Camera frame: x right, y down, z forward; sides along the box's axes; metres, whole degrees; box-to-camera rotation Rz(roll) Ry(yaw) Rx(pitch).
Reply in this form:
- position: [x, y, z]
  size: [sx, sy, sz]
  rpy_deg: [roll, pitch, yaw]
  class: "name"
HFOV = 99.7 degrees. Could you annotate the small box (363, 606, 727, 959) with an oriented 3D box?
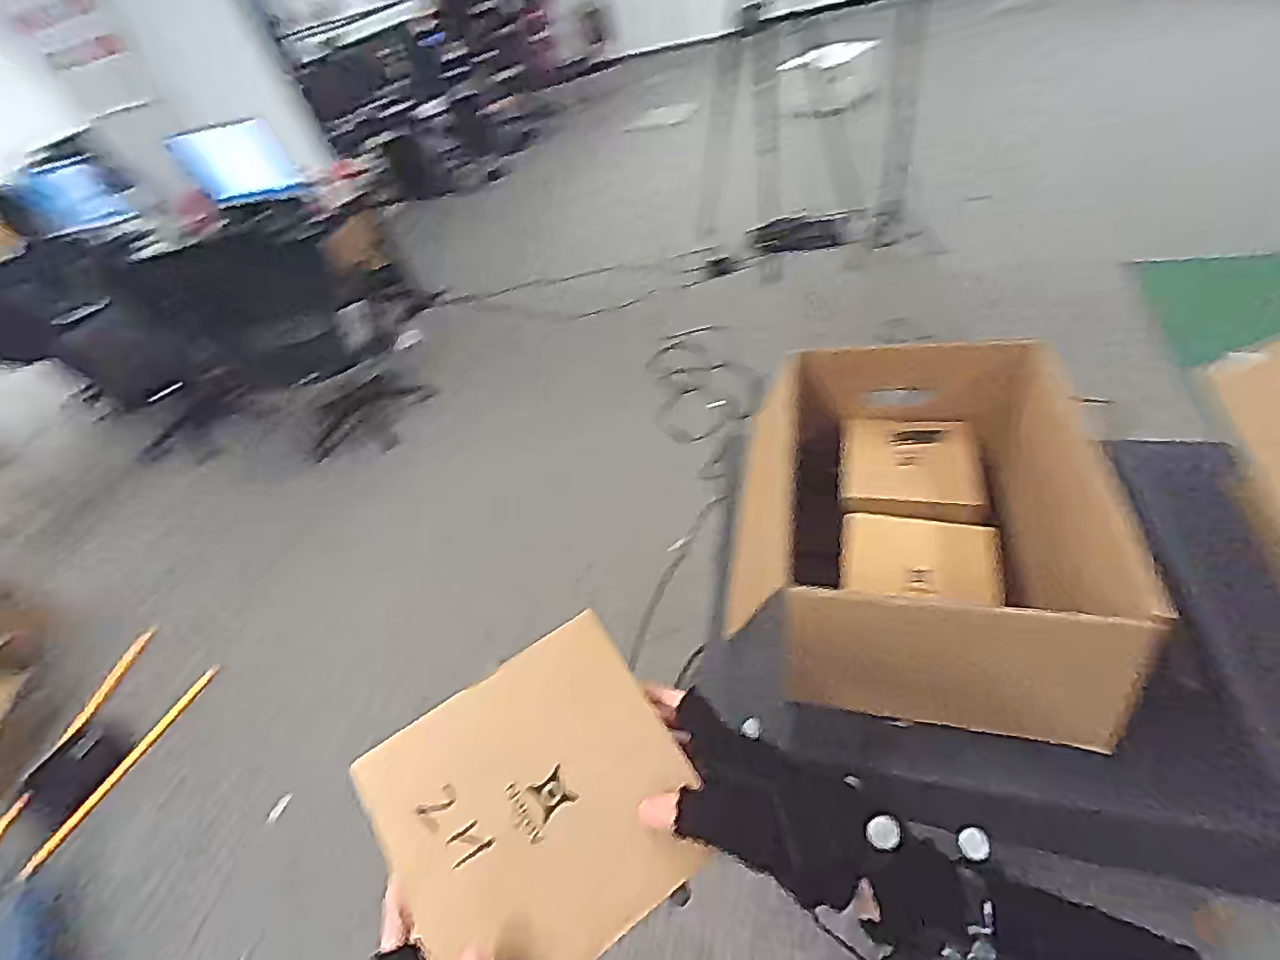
- position: [-0.065, 0.223, 0.404]
  size: [0.179, 0.176, 0.168]
  rpy_deg: [-28, 68, -16]
  class: "small box"
